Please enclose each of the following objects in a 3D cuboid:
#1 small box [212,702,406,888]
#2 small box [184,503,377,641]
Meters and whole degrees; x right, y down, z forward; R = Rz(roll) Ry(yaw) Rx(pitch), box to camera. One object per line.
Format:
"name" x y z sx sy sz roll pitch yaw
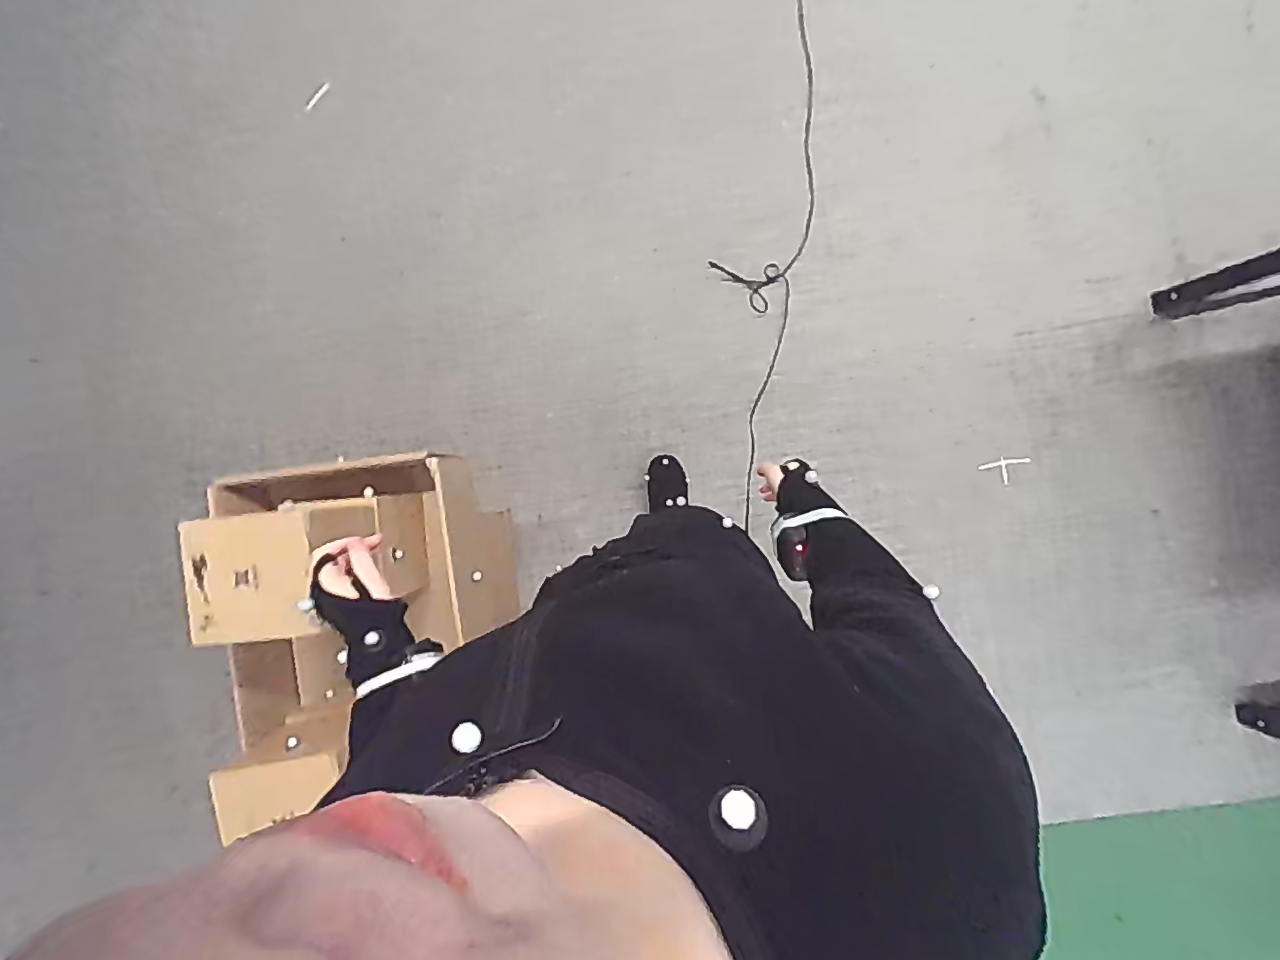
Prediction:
"small box" -0.468 0.449 0.797 0.179 0.176 0.168 -11 90 3
"small box" -0.508 0.125 0.792 0.179 0.176 0.168 -5 90 2
